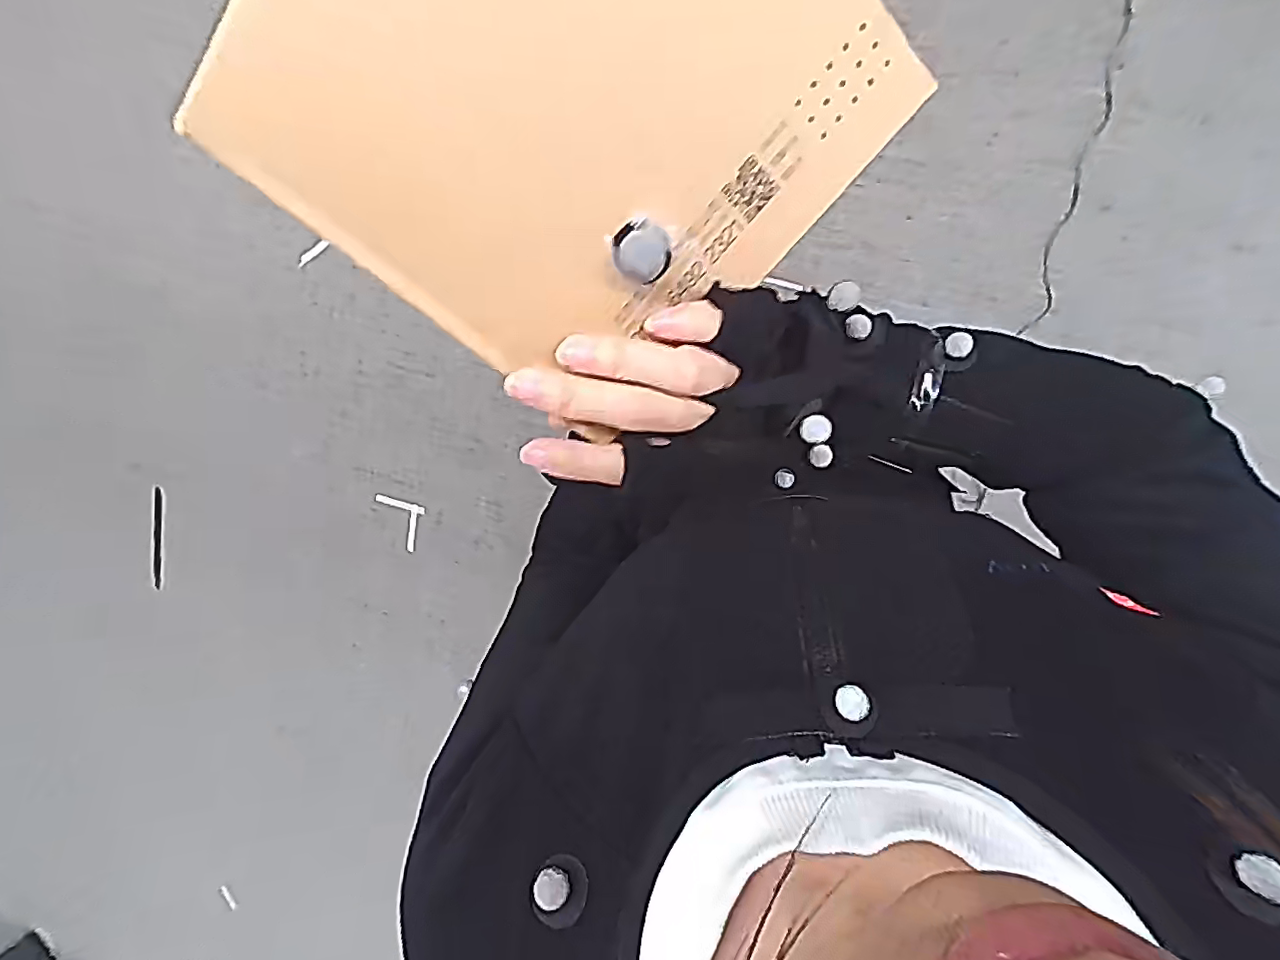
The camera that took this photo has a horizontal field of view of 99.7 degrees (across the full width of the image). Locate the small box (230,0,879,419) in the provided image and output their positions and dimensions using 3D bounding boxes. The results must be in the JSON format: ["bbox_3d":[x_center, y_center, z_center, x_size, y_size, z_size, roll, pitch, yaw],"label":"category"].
[{"bbox_3d":[-0.029,-0.156,0.259,0.176,0.179,0.168,36,109,-20],"label":"small box"}]
